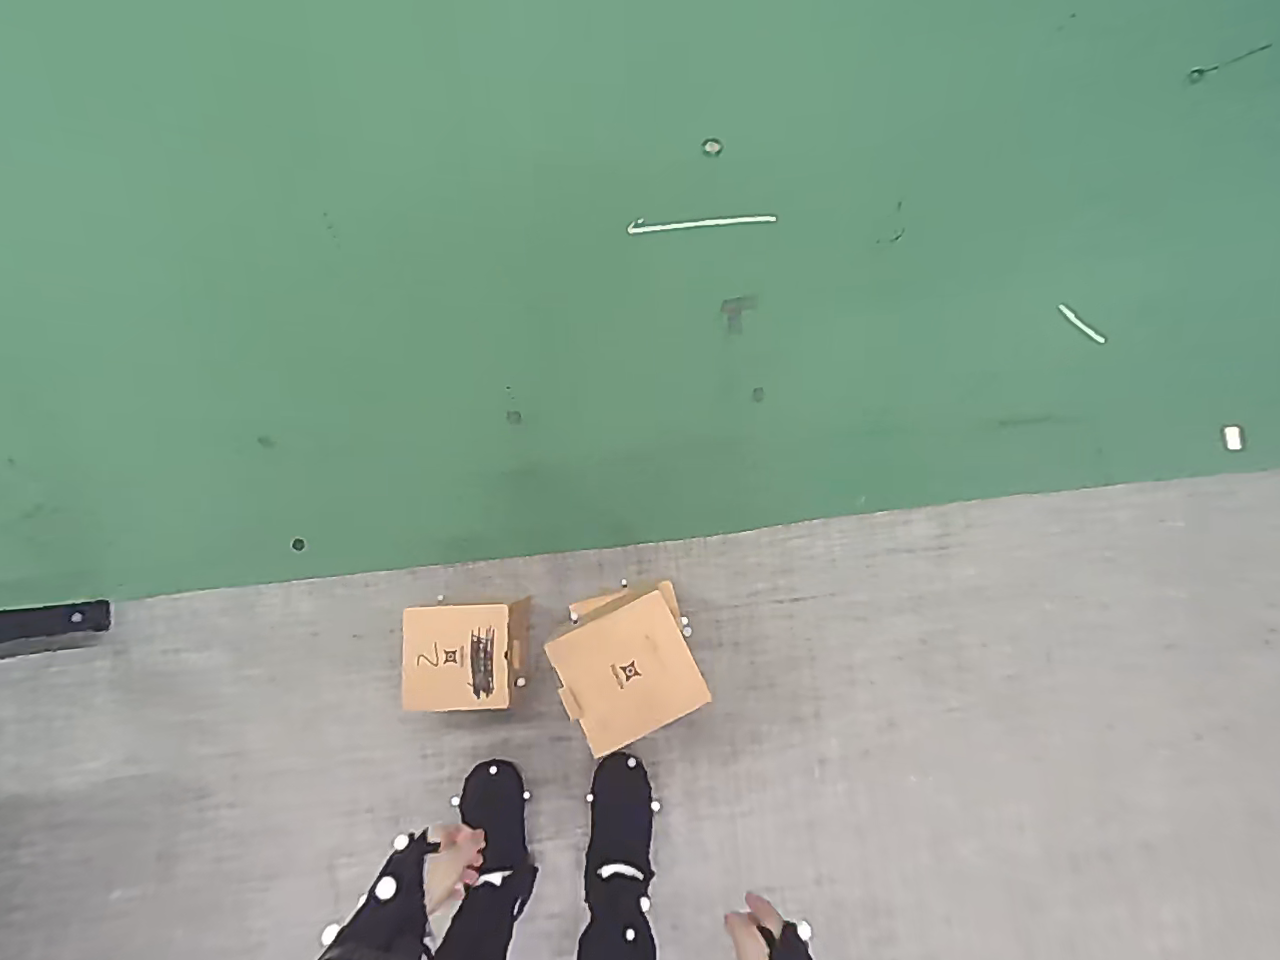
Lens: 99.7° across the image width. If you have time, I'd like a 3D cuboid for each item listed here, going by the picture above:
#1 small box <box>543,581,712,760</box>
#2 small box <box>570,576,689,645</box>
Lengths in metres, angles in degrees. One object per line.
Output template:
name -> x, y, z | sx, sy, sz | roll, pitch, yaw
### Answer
small box -> -0.017, 0.261, 0.783 | 0.179, 0.176, 0.168 | -26, 86, -4
small box -> -0.012, 0.270, 0.946 | 0.179, 0.176, 0.168 | -14, 84, -3
